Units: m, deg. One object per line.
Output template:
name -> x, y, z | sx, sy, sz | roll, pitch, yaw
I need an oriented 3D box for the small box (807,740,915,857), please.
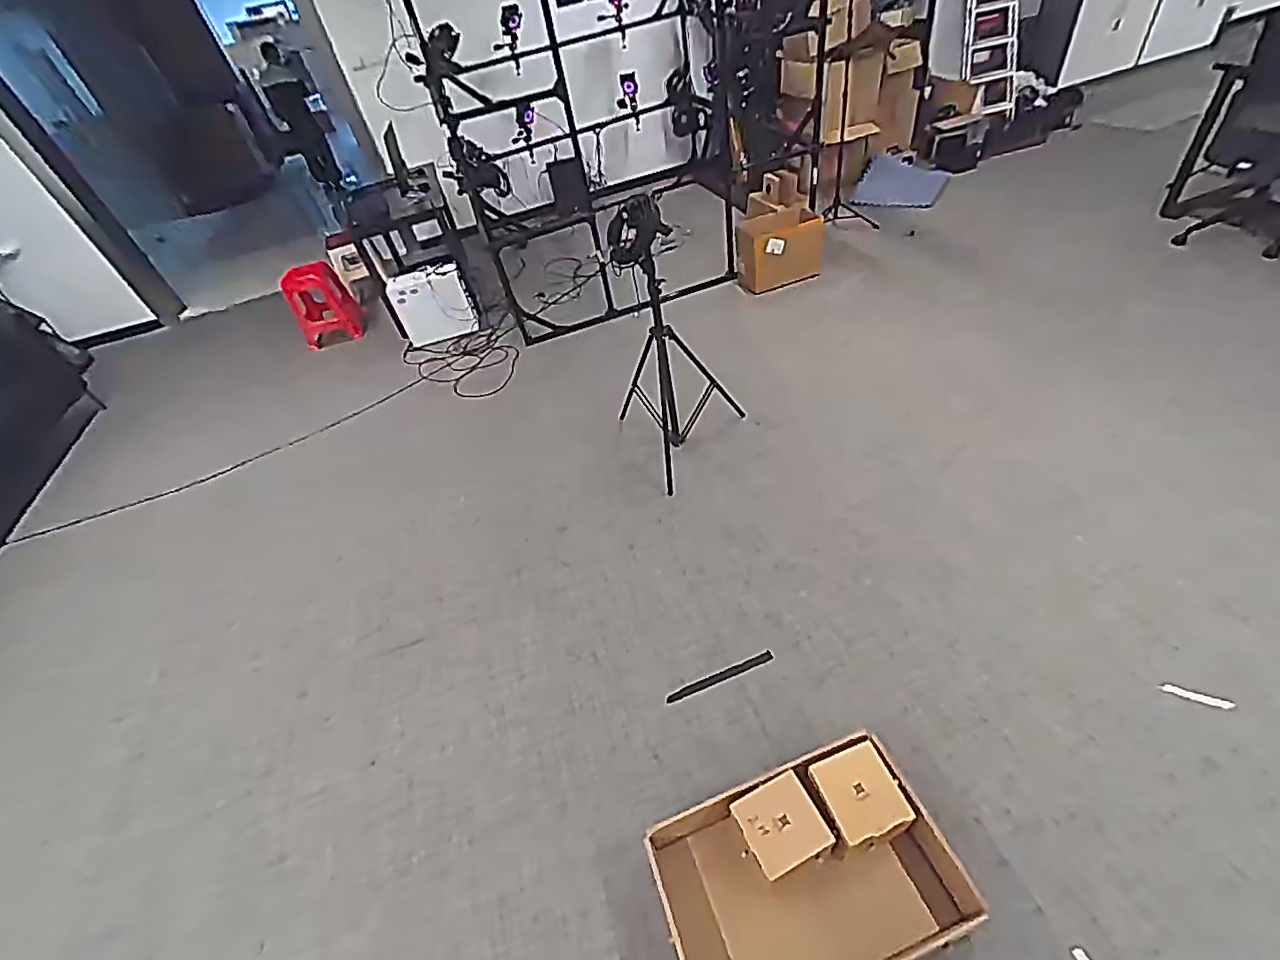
small box -> 0.516, 0.763, 1.293 | 0.168, 0.176, 0.179 | -21, 47, -6
